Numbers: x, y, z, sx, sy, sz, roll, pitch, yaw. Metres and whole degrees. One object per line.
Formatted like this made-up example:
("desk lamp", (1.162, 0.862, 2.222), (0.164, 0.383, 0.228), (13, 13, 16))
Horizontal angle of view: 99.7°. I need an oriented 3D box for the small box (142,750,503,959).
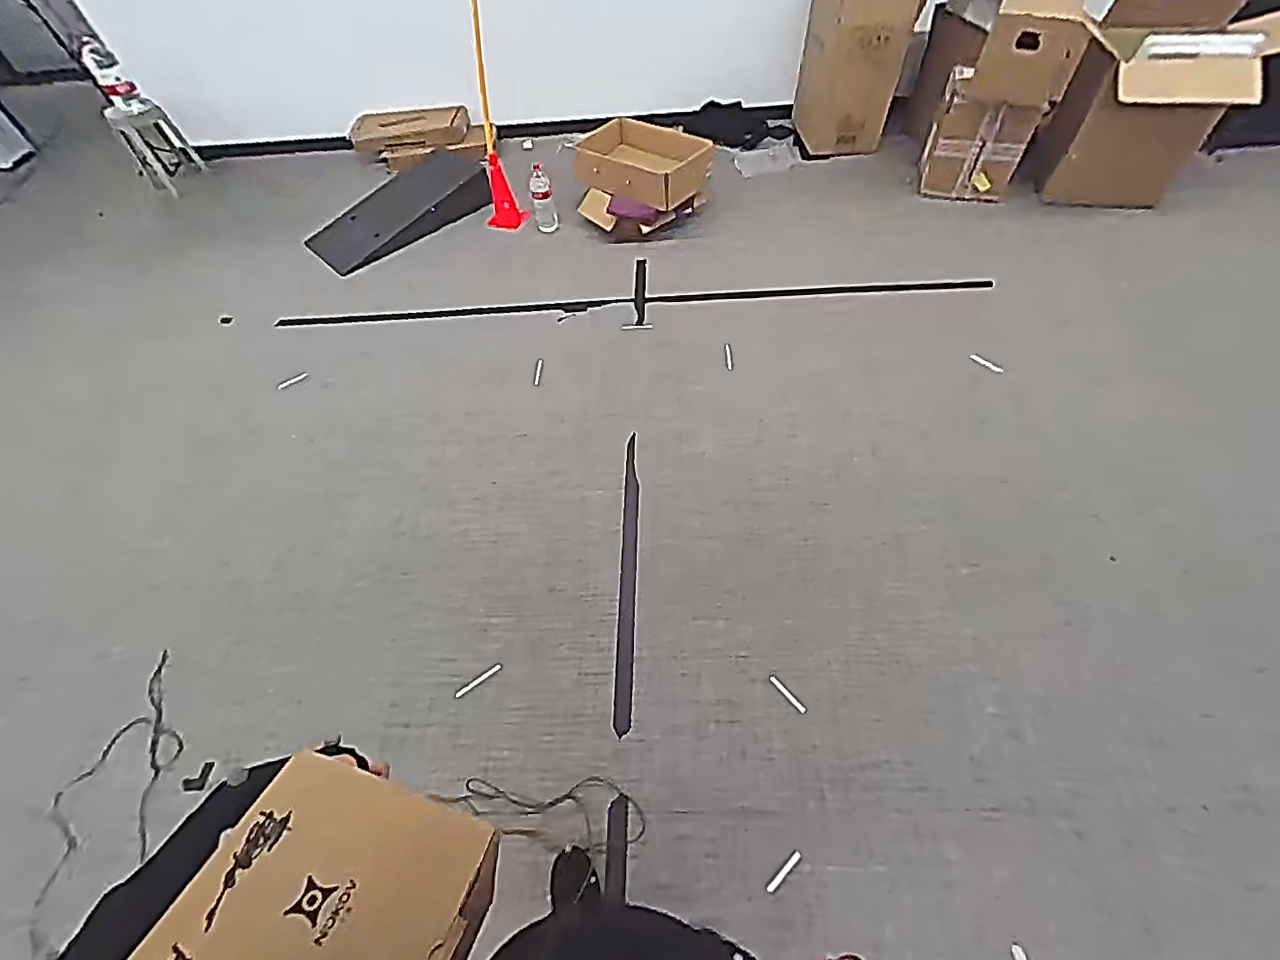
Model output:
("small box", (-0.225, 0.351, 0.415), (0.179, 0.176, 0.168), (19, 36, 5))
